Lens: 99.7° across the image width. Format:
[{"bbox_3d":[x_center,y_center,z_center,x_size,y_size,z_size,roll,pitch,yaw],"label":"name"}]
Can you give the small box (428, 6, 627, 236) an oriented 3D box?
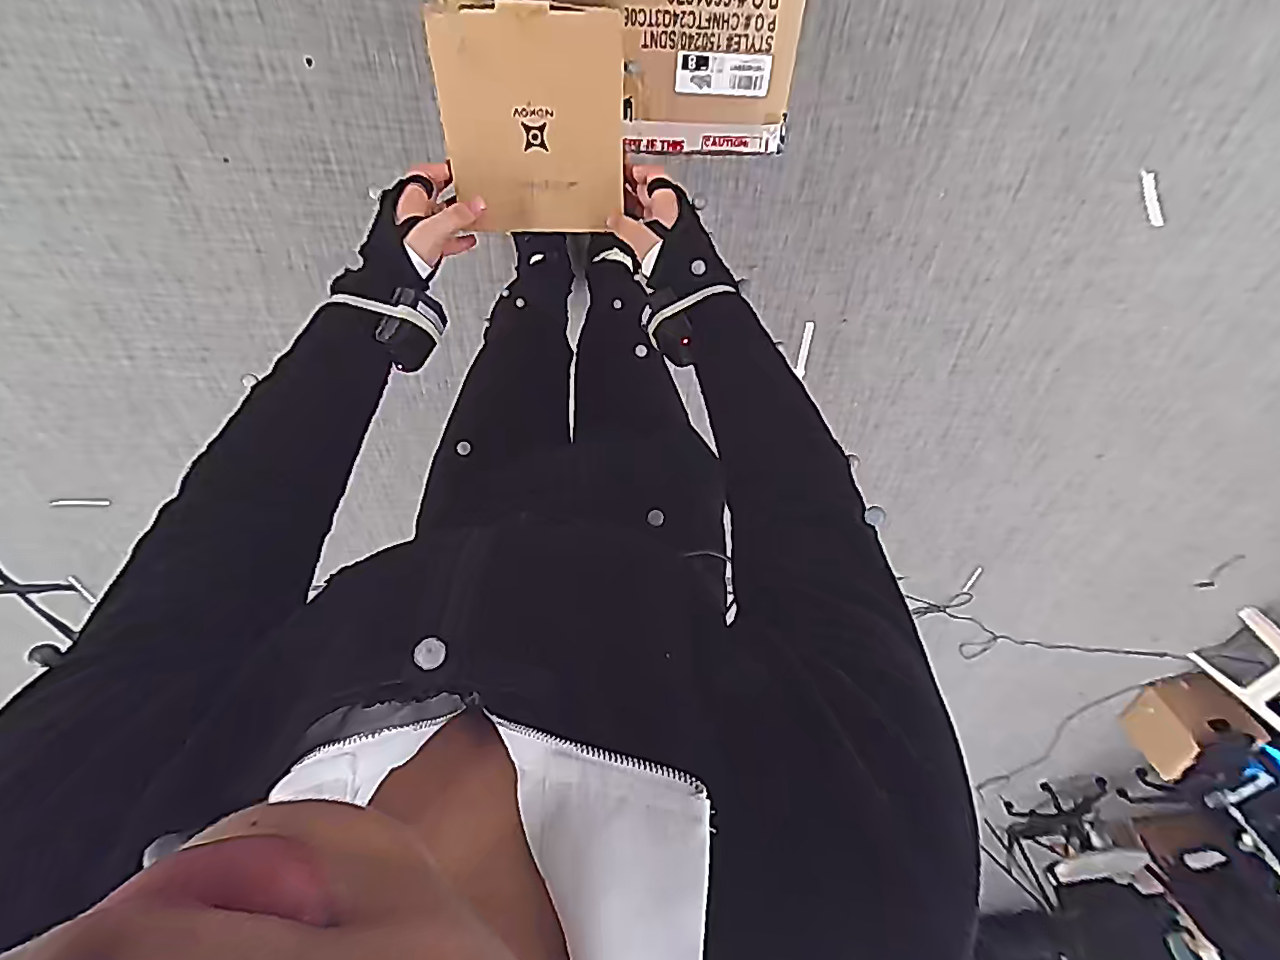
[{"bbox_3d":[-0.098,-0.368,0.556,0.168,0.176,0.179,0,132,-2],"label":"small box"}]
